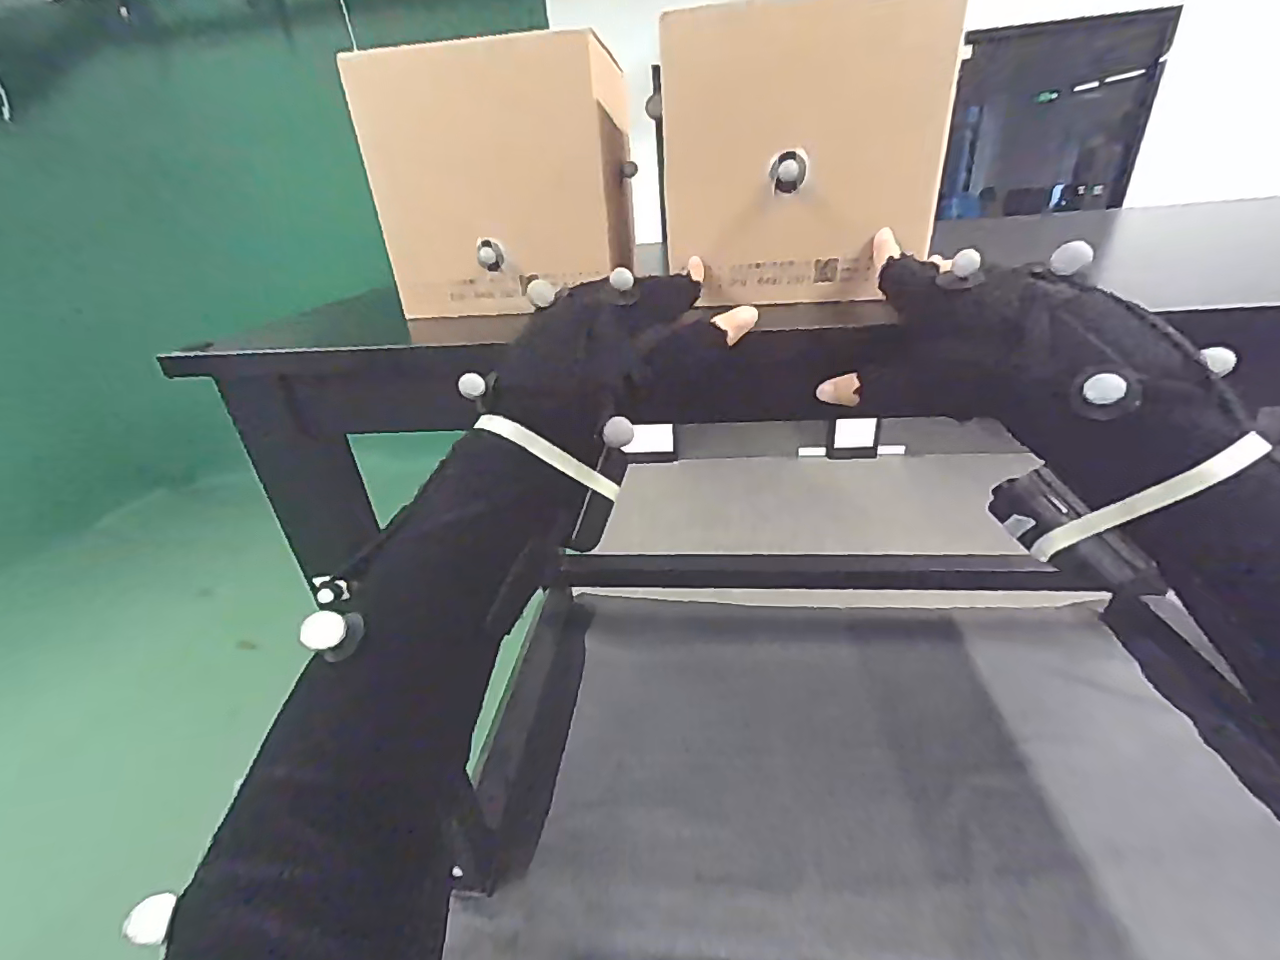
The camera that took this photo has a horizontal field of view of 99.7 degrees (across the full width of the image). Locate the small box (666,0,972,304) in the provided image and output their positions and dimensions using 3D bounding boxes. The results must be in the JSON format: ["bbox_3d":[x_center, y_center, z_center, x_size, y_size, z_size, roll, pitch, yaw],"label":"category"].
[{"bbox_3d":[0.116,-0.228,0.397,0.168,0.176,0.179,2,29,11],"label":"small box"}]
